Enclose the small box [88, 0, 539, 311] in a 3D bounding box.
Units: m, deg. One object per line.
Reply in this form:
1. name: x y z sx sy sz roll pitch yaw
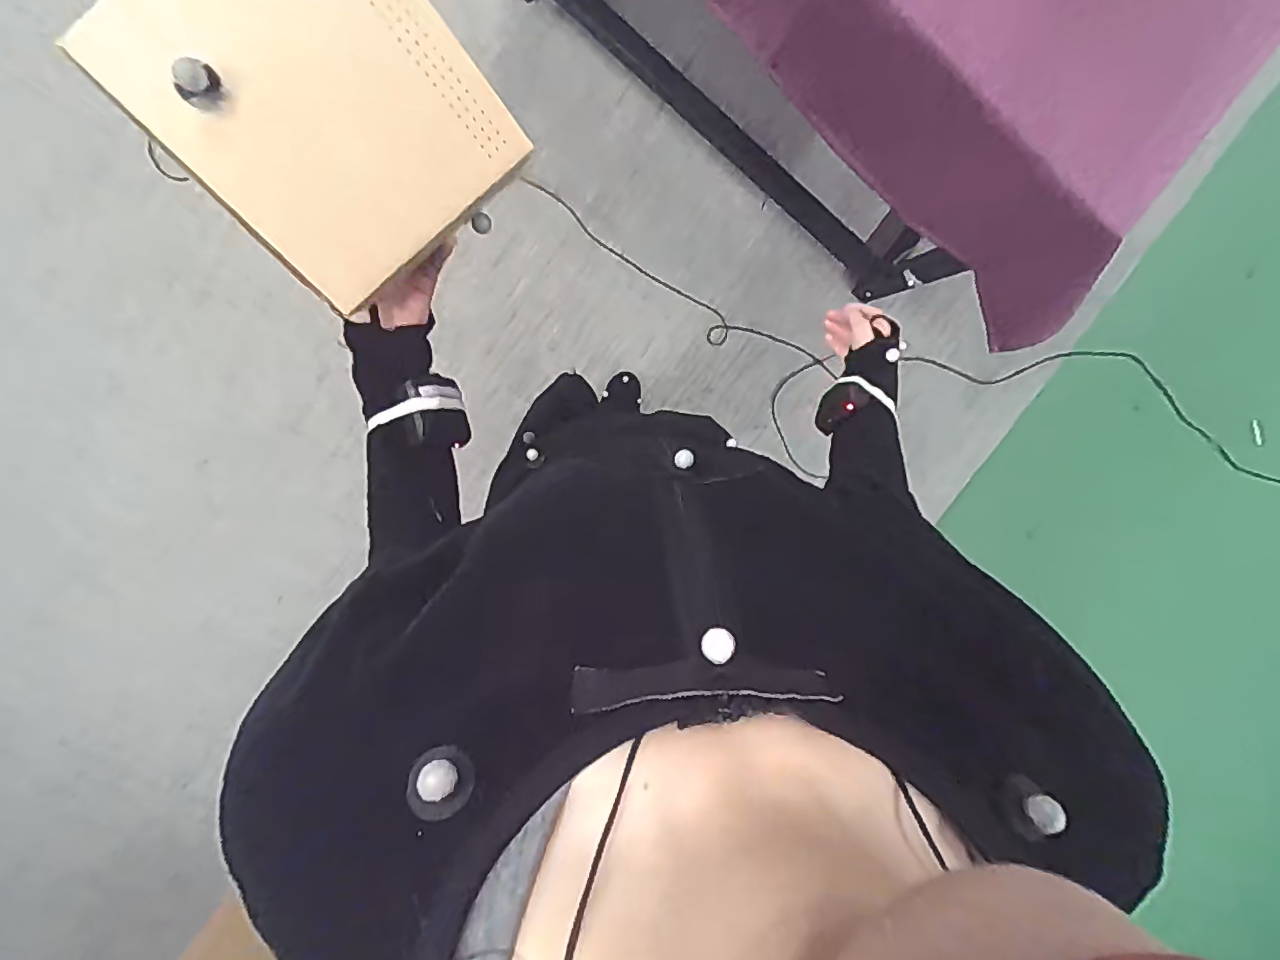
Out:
1. small box: -0.198 -0.252 0.386 0.176 0.168 0.179 -40 117 4
